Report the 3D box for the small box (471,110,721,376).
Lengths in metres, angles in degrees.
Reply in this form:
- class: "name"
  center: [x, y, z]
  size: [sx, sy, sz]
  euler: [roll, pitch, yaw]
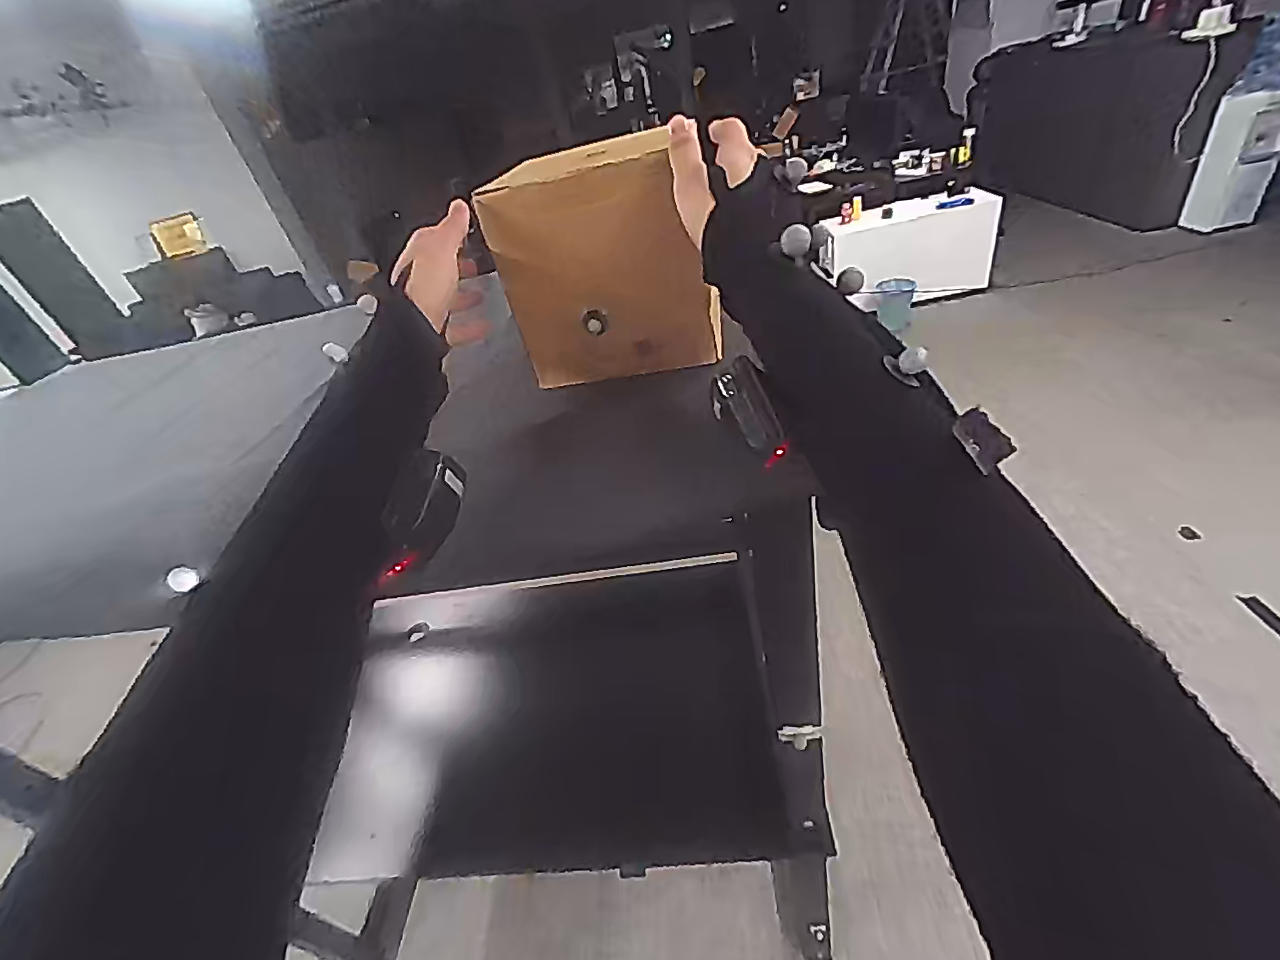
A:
- class: "small box"
  center: [-0.020, -0.213, 0.489]
  size: [0.168, 0.176, 0.179]
  euler: [-6, 37, 13]
